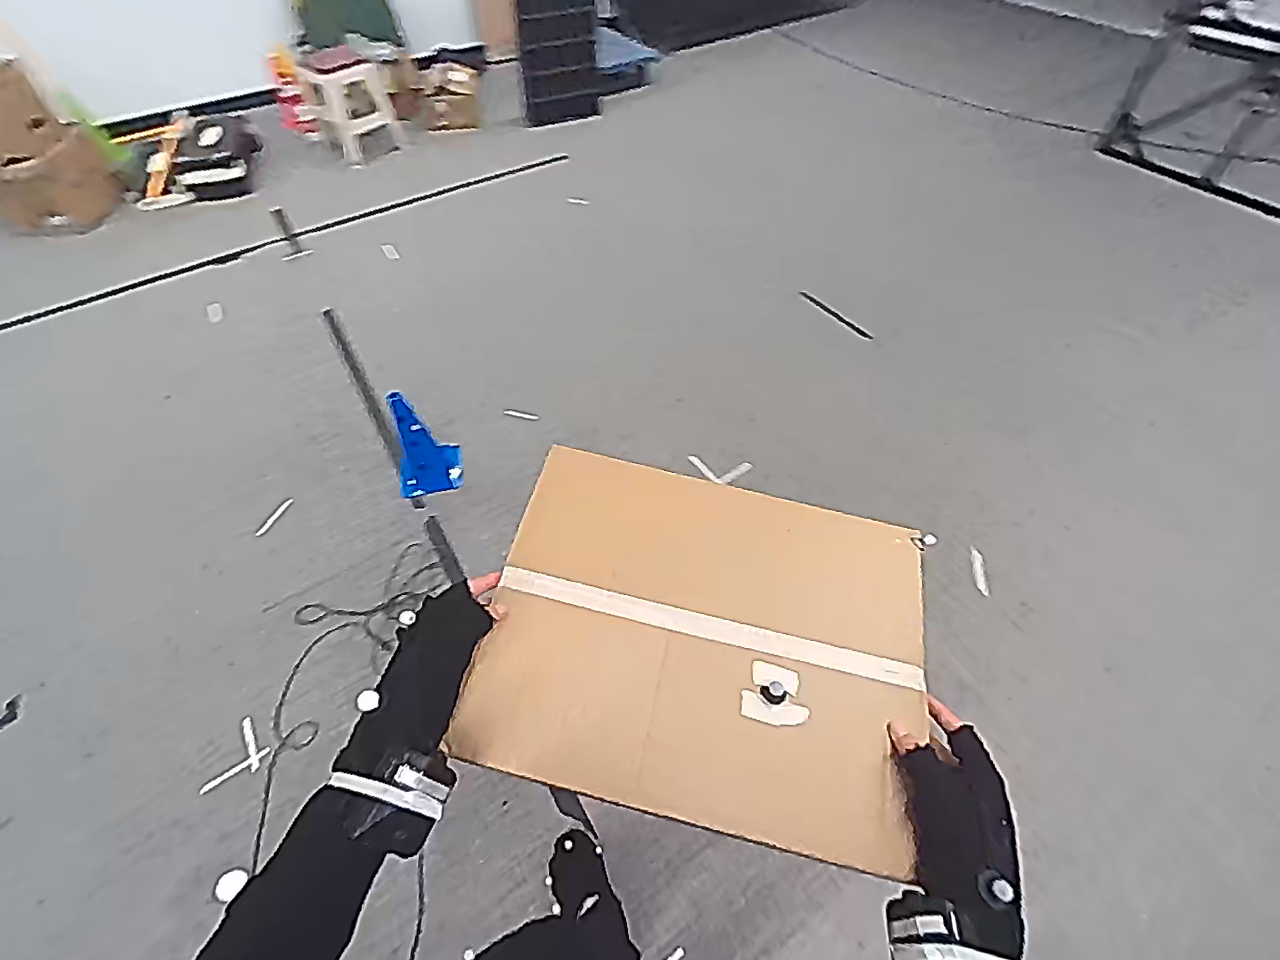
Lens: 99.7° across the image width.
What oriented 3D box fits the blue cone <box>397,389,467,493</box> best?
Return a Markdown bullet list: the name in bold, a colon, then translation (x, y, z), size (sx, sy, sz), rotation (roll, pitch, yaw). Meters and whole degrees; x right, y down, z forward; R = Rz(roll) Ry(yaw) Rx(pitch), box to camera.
- **blue cone**: translation (-0.699, -0.139, 1.746), size (0.193, 0.380, 0.192), rotation (-10, 53, -7)
